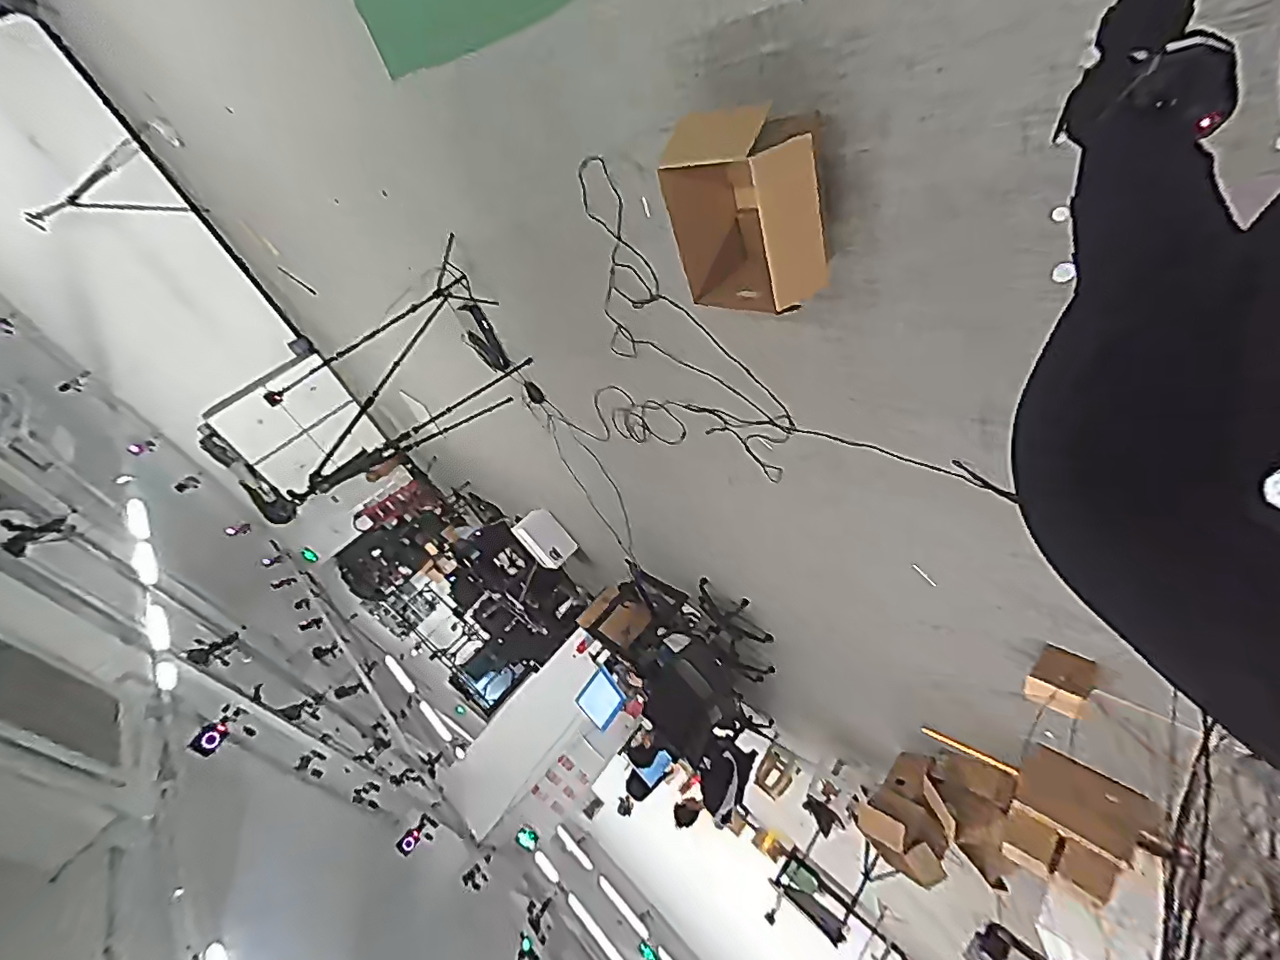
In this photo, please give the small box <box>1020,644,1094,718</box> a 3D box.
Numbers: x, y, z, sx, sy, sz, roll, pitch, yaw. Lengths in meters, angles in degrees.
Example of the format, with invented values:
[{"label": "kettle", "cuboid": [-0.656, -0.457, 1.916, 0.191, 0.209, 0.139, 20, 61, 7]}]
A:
[{"label": "small box", "cuboid": [1.579, 0.754, 2.051, 0.179, 0.176, 0.168, 20, 145, 43]}]
